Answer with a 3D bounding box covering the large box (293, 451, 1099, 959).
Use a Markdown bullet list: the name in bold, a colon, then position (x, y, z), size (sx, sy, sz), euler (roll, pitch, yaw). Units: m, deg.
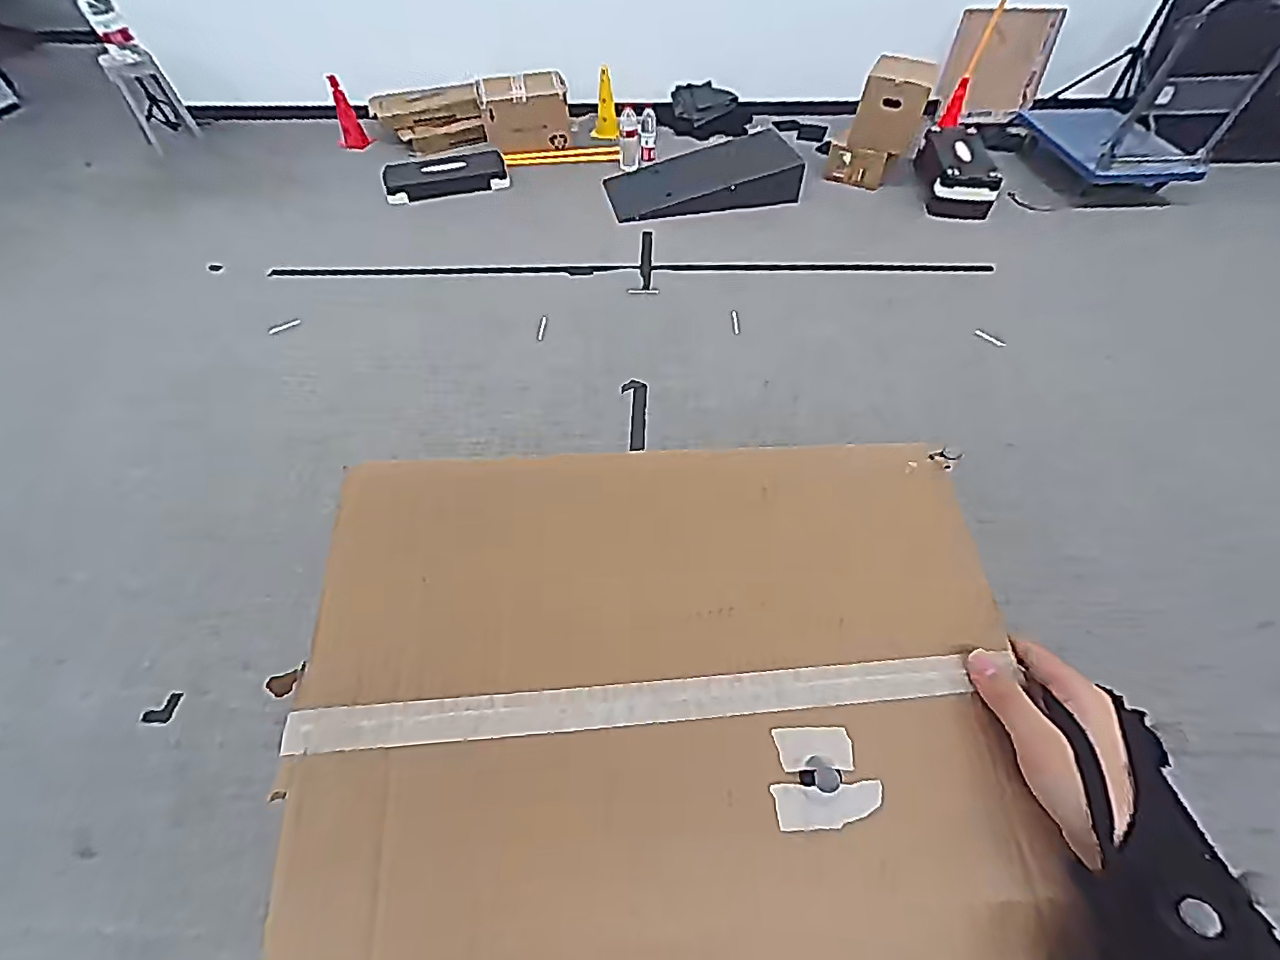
- **large box**: position (0.012, 0.189, 0.447), size (0.408, 0.320, 0.320), euler (-2, 66, -7)
